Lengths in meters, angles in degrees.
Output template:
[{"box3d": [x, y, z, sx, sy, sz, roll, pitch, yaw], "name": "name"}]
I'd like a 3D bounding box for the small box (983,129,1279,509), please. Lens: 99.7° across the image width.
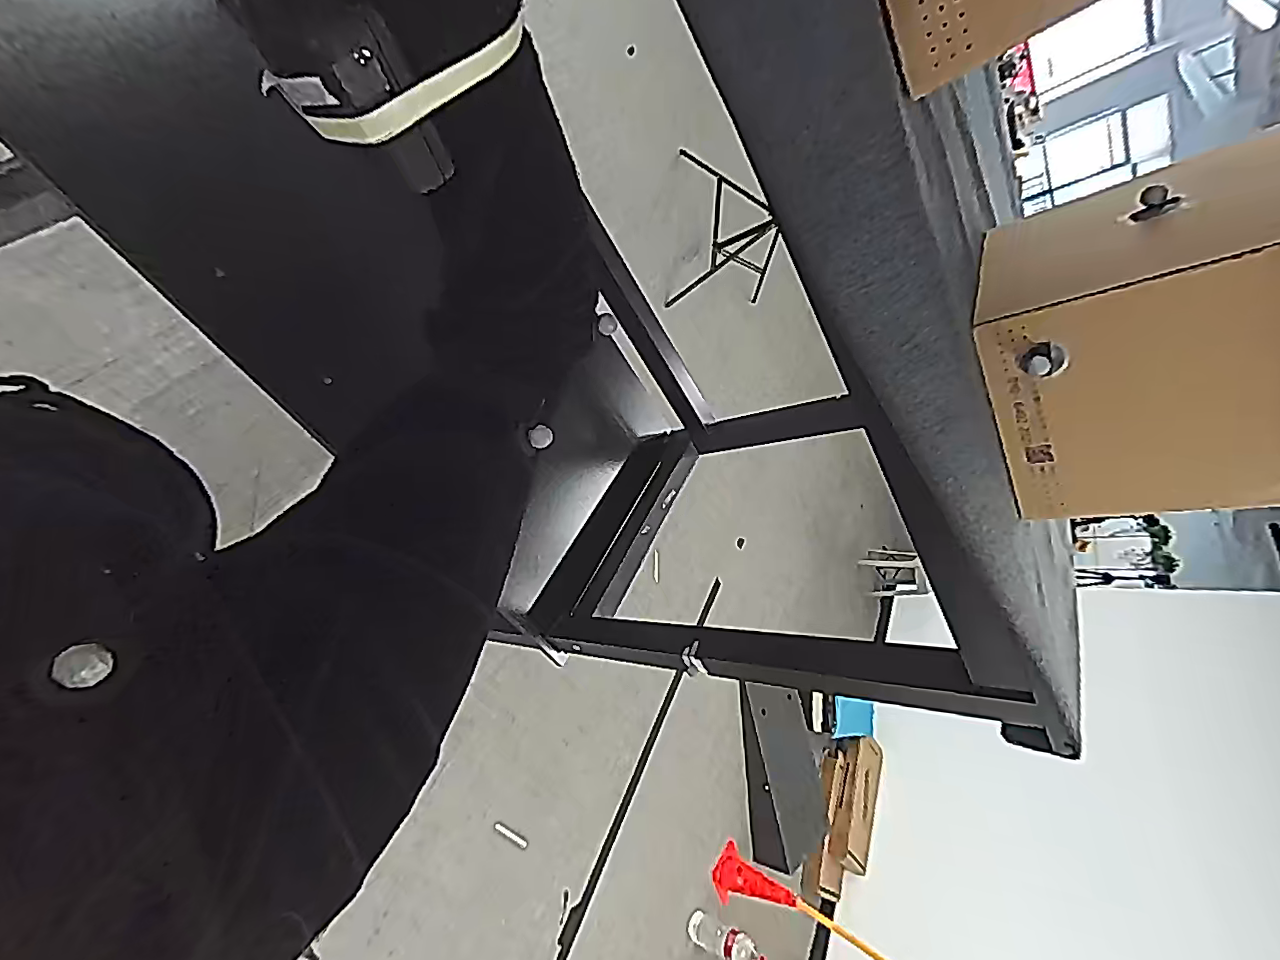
[{"box3d": [0.348, -0.096, 0.370, 0.168, 0.176, 0.179, 57, 45, -25], "name": "small box"}]
